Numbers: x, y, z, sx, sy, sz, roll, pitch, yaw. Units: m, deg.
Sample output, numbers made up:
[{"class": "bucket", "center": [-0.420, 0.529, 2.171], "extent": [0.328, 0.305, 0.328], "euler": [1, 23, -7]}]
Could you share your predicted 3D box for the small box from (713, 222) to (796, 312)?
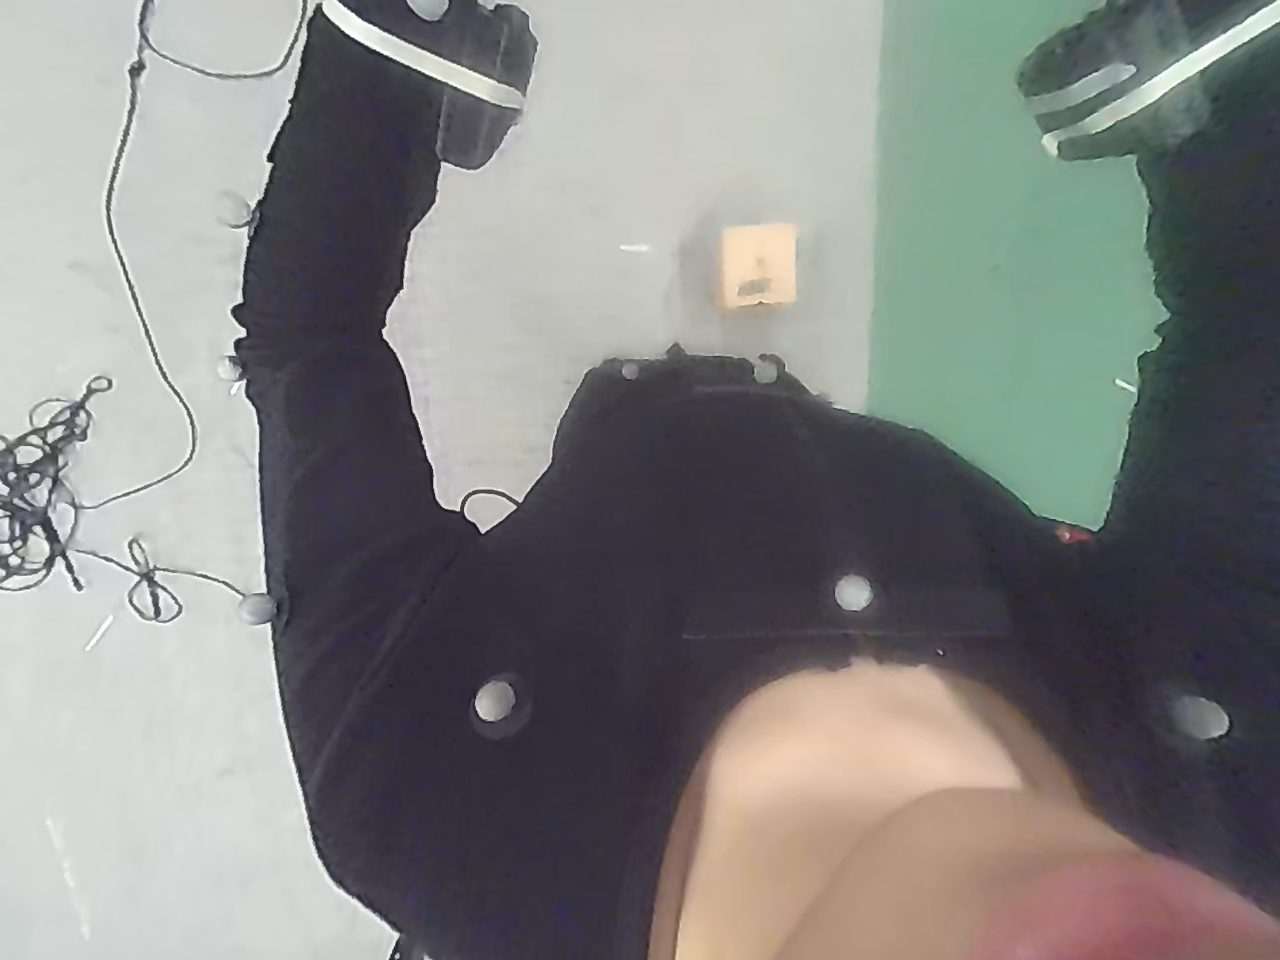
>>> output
[{"class": "small box", "center": [0.270, -0.500, 1.294], "extent": [0.168, 0.176, 0.179], "euler": [-4, 101, 0]}]
